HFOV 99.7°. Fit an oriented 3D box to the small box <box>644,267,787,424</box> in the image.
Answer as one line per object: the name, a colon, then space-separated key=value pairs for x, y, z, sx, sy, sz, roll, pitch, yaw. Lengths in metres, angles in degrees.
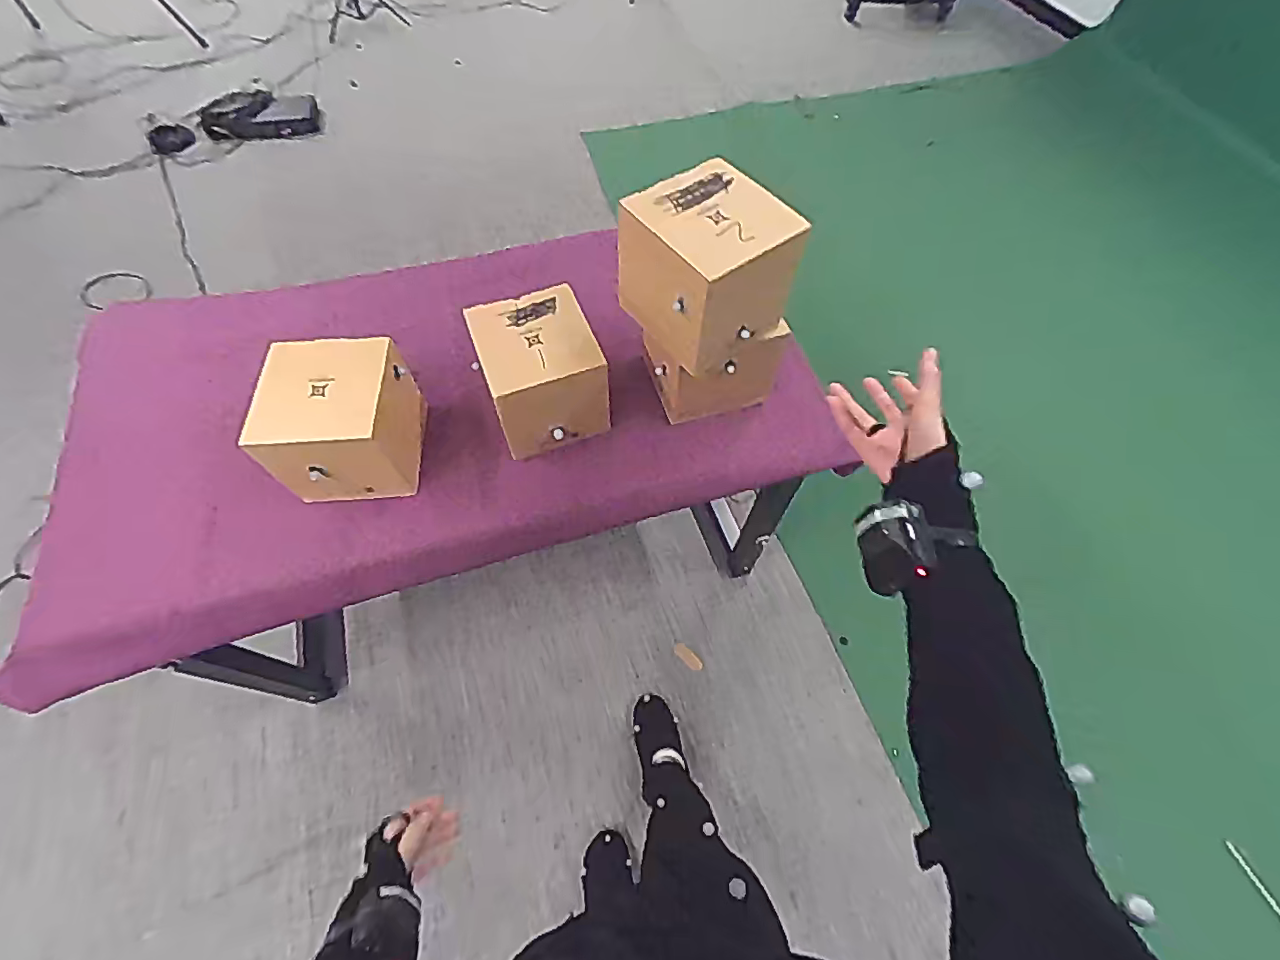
small box: x=0.110 y=-0.212 z=0.877 sx=0.179 sy=0.176 sz=0.168 roll=-13 pitch=61 yaw=-9

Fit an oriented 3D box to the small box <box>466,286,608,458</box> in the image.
small box: x=-0.155 y=-0.163 z=0.840 sx=0.168 sy=0.176 sz=0.179 roll=-18 pitch=63 yaw=-12

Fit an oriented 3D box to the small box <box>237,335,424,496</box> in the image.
small box: x=-0.430 y=-0.085 z=0.786 sx=0.168 sy=0.176 sz=0.179 roll=-3 pitch=60 yaw=-4
